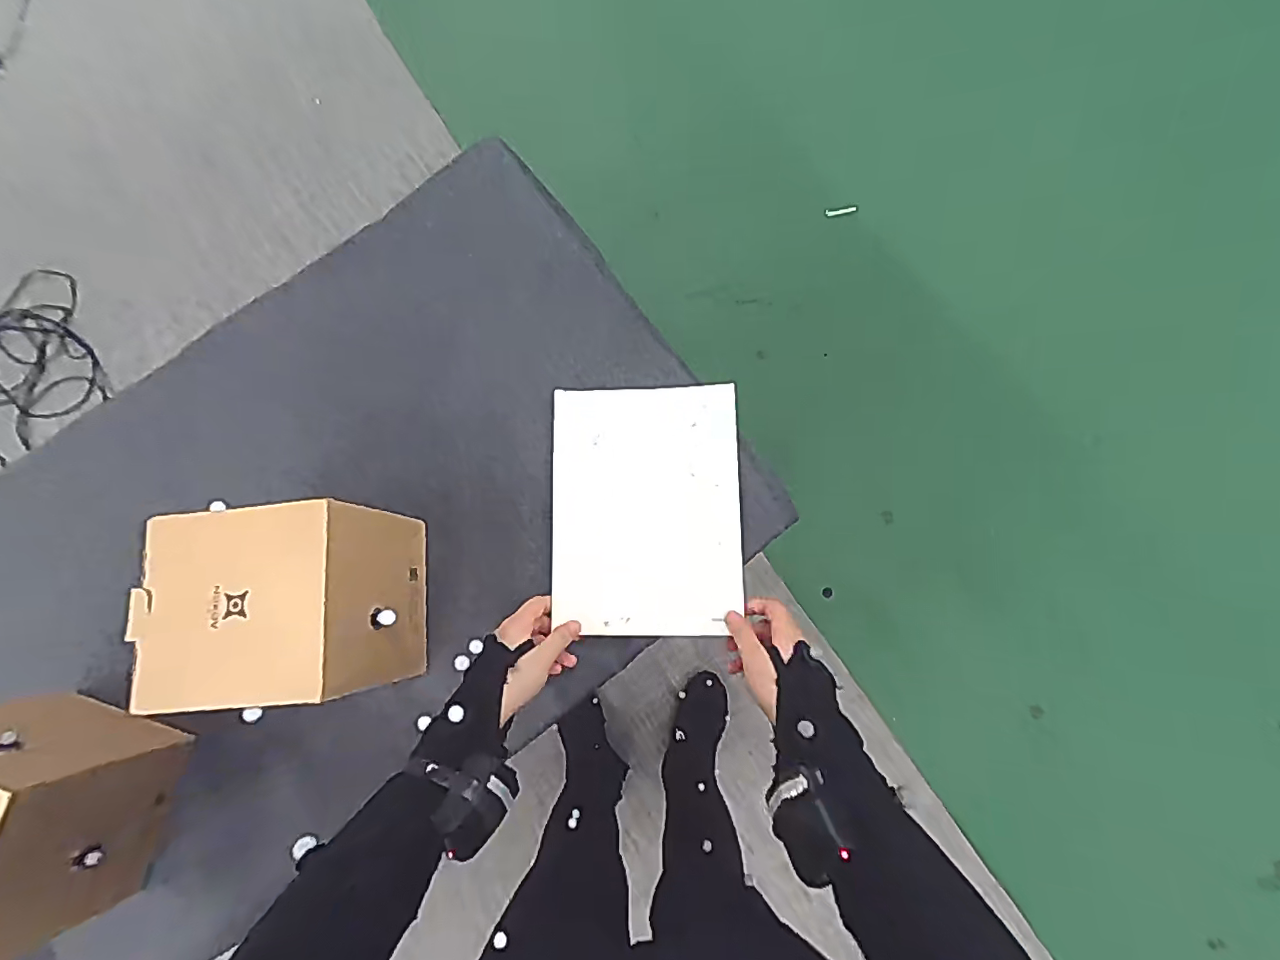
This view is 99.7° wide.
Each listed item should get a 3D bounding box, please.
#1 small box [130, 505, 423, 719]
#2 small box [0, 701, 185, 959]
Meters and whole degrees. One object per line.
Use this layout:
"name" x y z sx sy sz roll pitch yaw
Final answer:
"small box" -0.330 0.122 0.526 0.179 0.176 0.168 -7 79 7
"small box" -0.604 0.331 0.520 0.179 0.176 0.168 13 81 9
